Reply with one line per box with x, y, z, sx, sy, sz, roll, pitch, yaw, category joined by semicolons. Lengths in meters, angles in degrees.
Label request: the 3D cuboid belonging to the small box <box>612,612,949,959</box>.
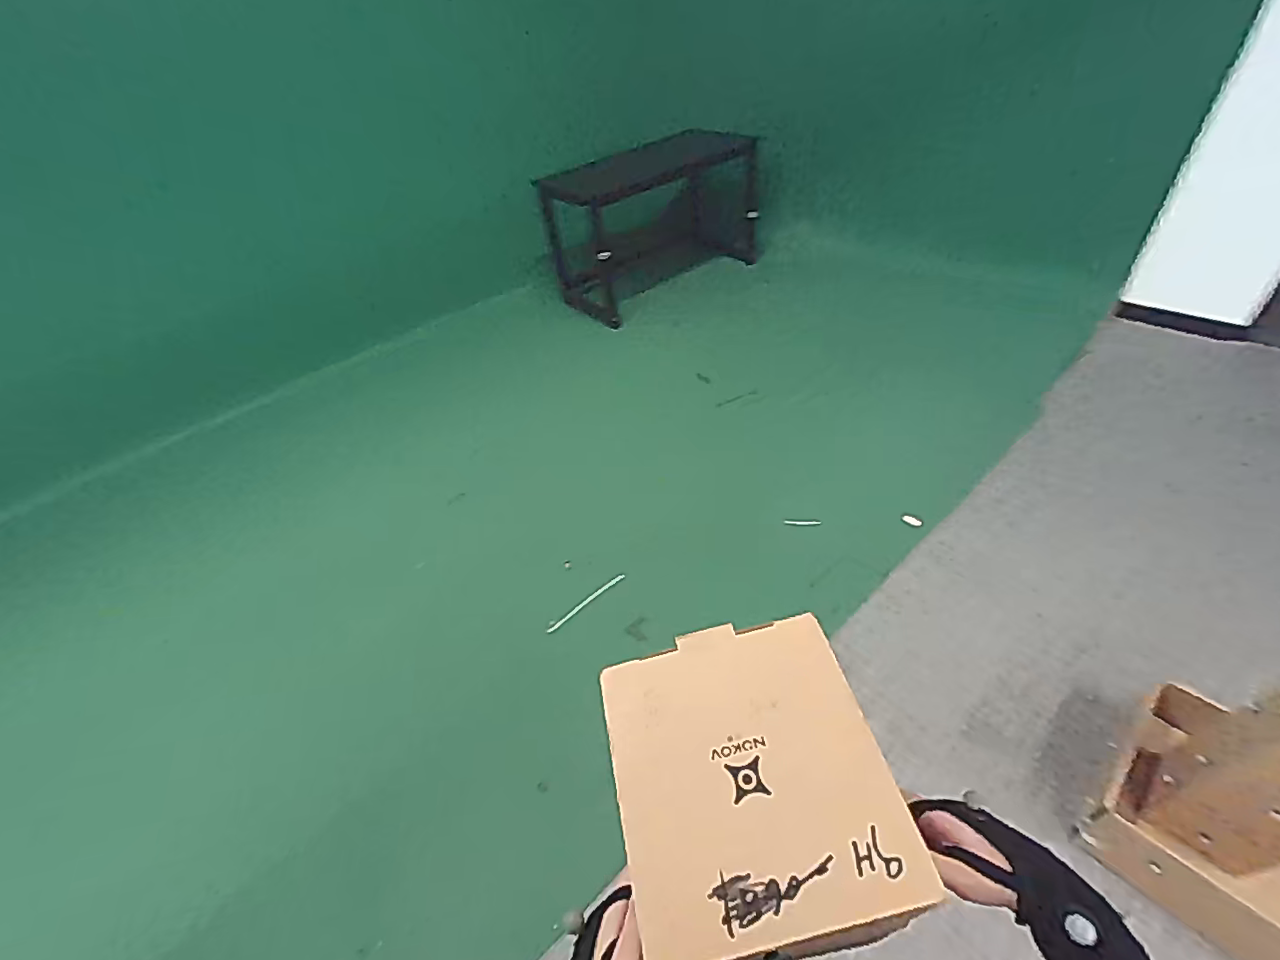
0.086;0.232;0.401;0.168;0.176;0.179;-16;46;1;small box

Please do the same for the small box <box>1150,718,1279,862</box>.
1.206;0.640;1.113;0.168;0.176;0.179;30;57;34;small box

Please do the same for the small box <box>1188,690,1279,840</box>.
1.173;0.534;0.993;0.179;0.176;0.168;31;60;34;small box
